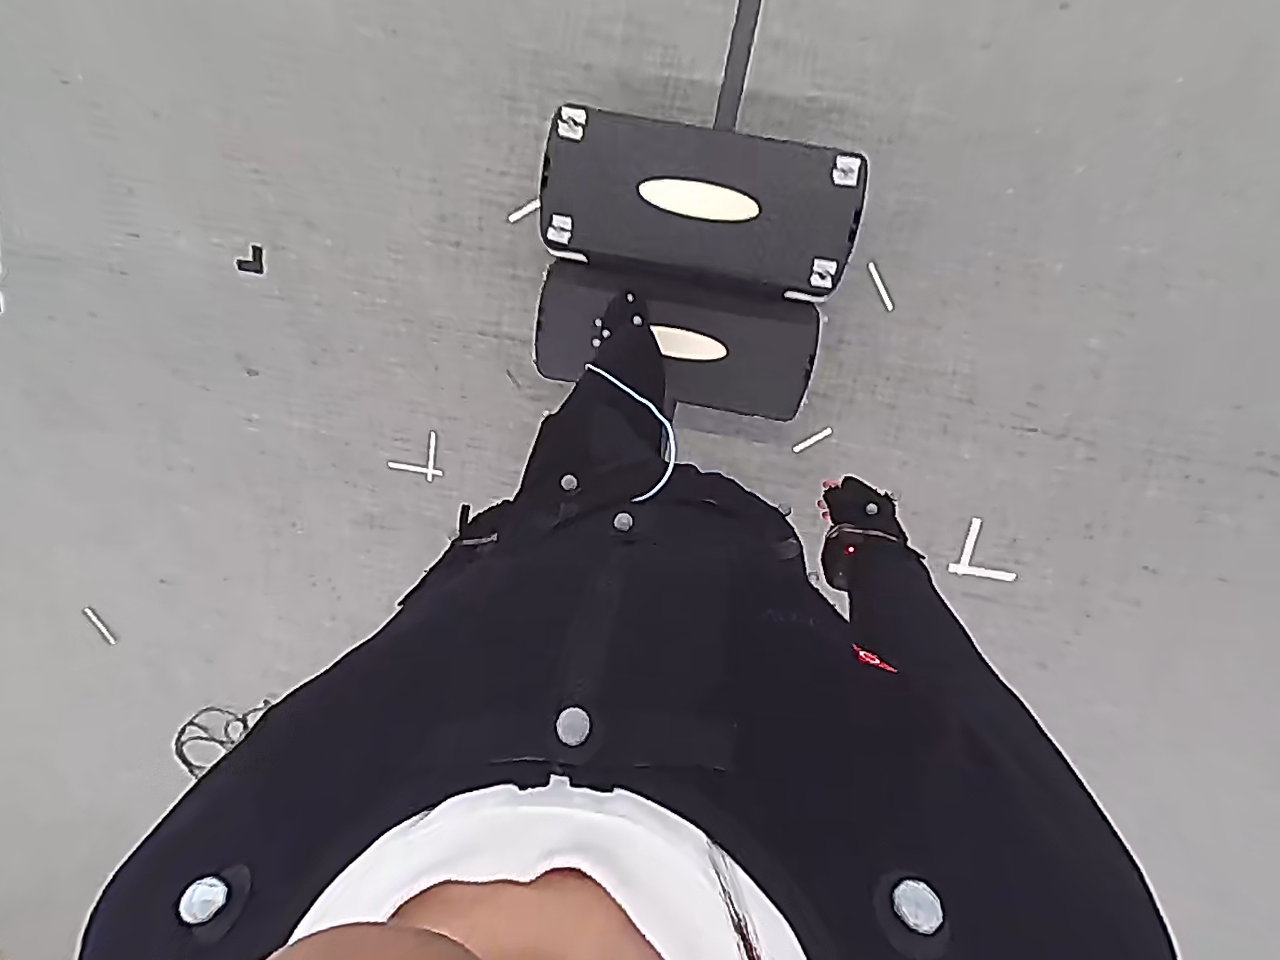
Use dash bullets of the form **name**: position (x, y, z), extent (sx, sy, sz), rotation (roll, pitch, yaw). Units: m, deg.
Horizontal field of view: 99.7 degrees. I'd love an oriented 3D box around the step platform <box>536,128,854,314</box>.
- **step platform**: position (0.112, -0.569, 1.218), extent (0.684, 0.204, 0.286), rotation (10, 104, 1)
